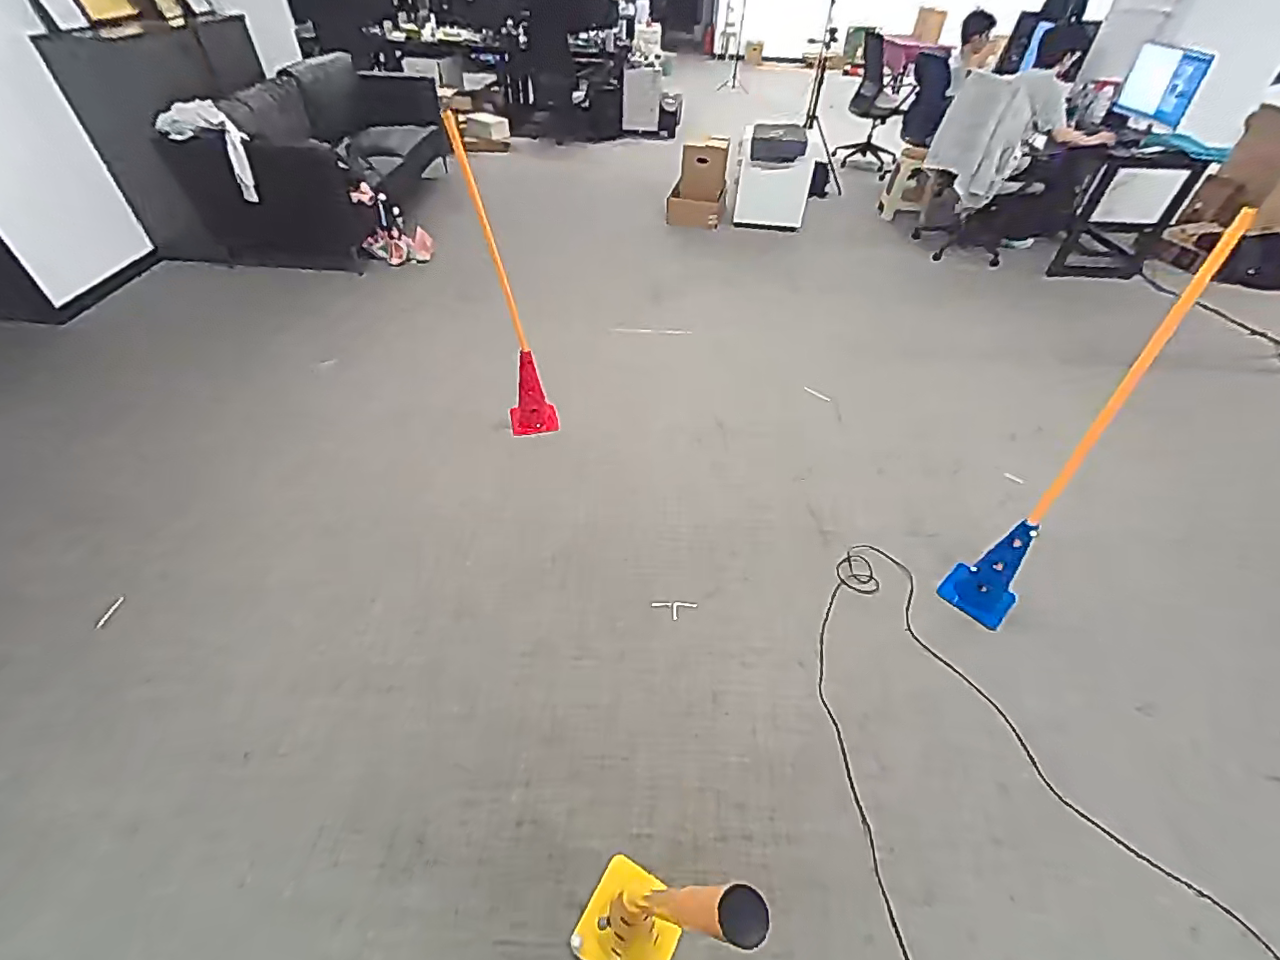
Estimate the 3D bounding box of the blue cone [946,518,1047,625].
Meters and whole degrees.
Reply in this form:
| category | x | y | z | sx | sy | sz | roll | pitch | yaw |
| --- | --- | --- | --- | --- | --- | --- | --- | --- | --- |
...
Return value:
| category | x | y | z | sx | sy | sz | roll | pitch | yaw |
| --- | --- | --- | --- | --- | --- | --- | --- | --- | --- |
| blue cone | 1.141 | 0.255 | 1.689 | 0.193 | 0.380 | 0.192 | -31 | 53 | -33 |
